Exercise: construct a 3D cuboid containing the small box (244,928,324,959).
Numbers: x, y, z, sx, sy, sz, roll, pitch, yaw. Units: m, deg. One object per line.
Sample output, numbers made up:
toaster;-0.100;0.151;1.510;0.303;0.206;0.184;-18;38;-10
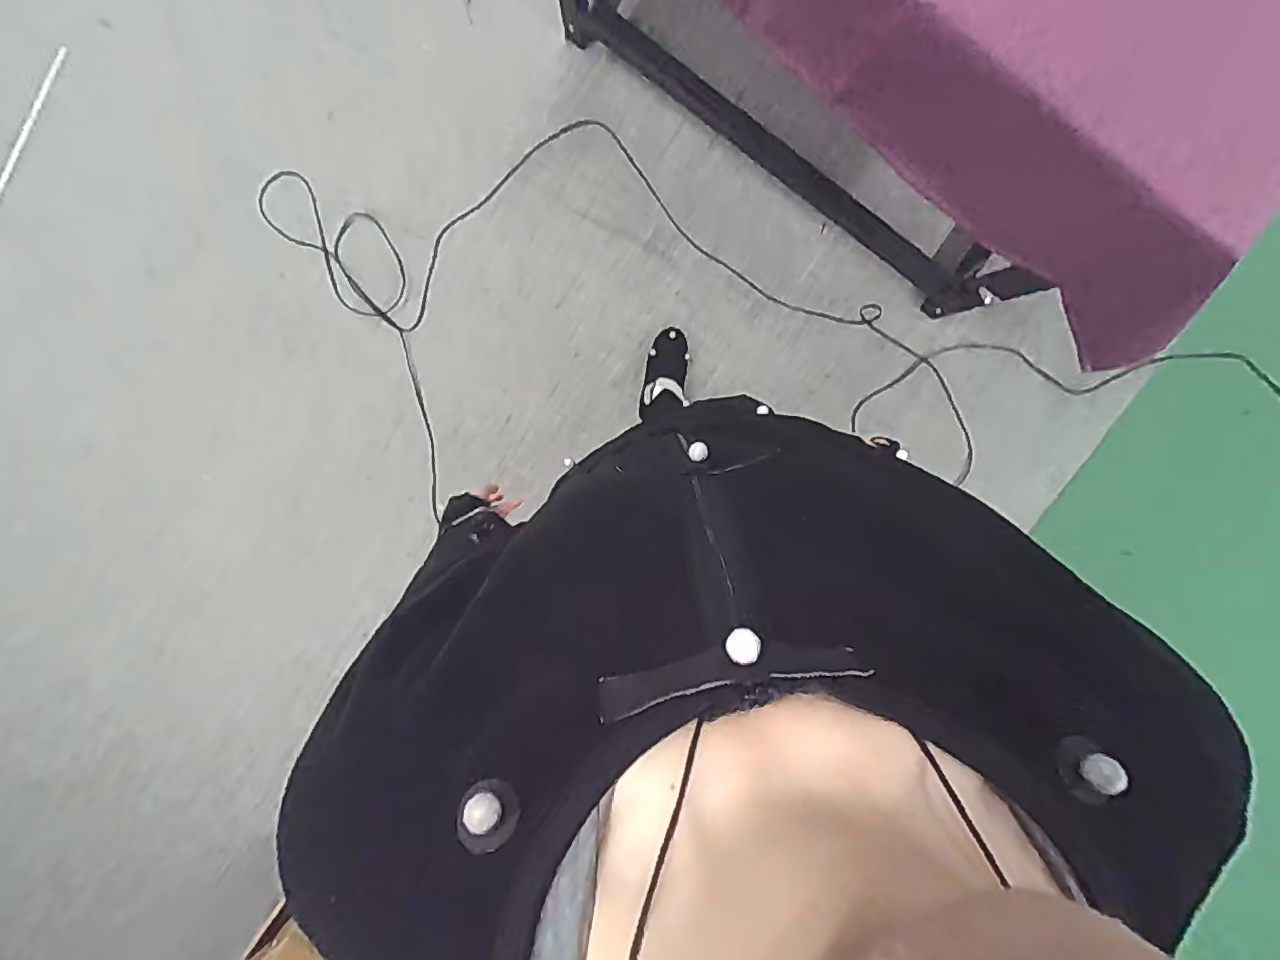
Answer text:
small box;-0.956;1.321;1.391;0.168;0.176;0.179;-43;97;5
